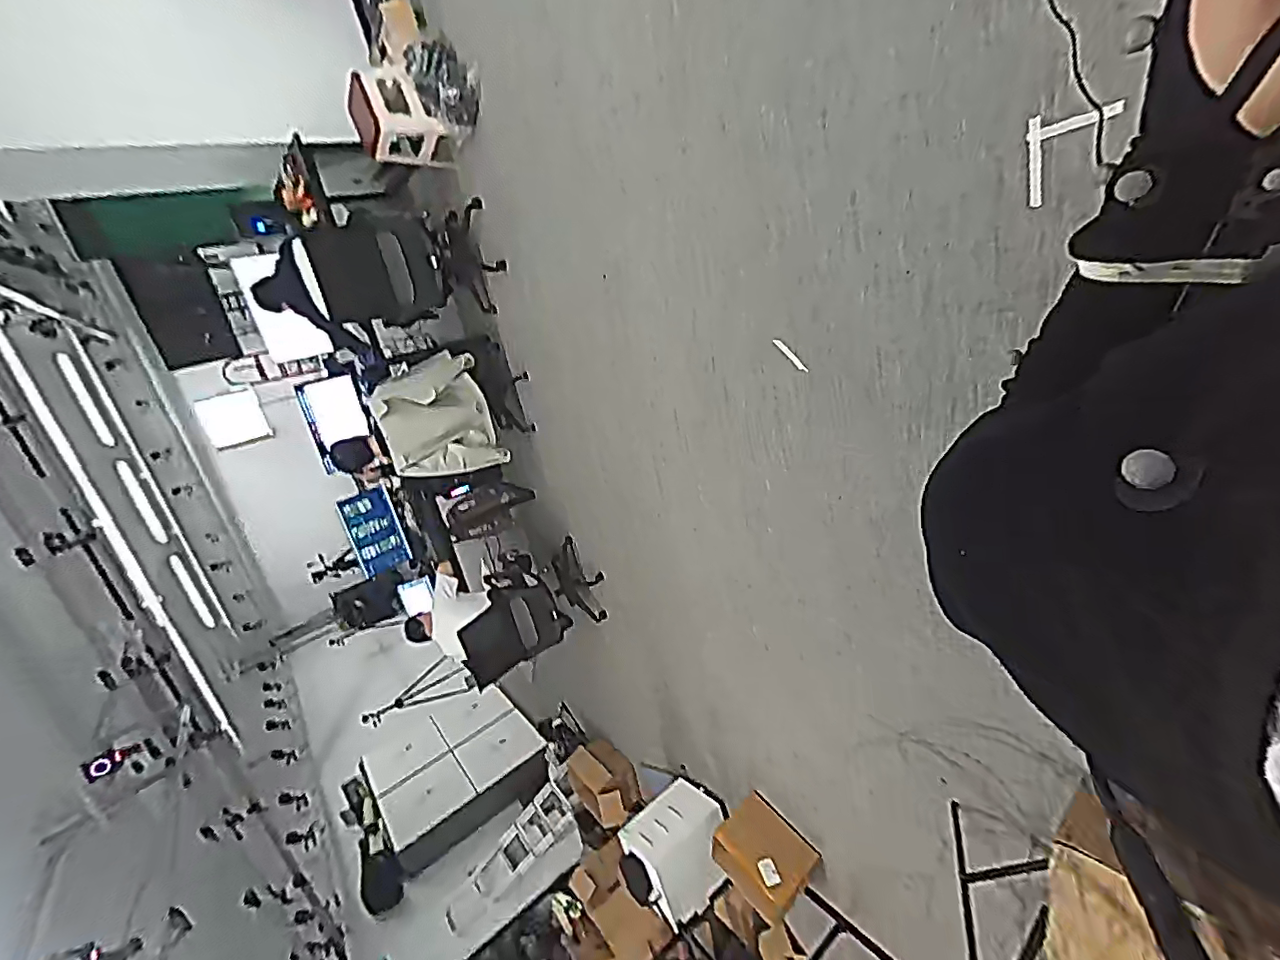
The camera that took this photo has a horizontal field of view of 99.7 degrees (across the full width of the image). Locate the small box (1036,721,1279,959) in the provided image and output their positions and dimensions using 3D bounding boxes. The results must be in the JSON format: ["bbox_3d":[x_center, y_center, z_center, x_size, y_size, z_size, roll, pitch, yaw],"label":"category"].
[{"bbox_3d":[0.458,0.347,0.448,0.168,0.176,0.179,12,119,51],"label":"small box"}]
